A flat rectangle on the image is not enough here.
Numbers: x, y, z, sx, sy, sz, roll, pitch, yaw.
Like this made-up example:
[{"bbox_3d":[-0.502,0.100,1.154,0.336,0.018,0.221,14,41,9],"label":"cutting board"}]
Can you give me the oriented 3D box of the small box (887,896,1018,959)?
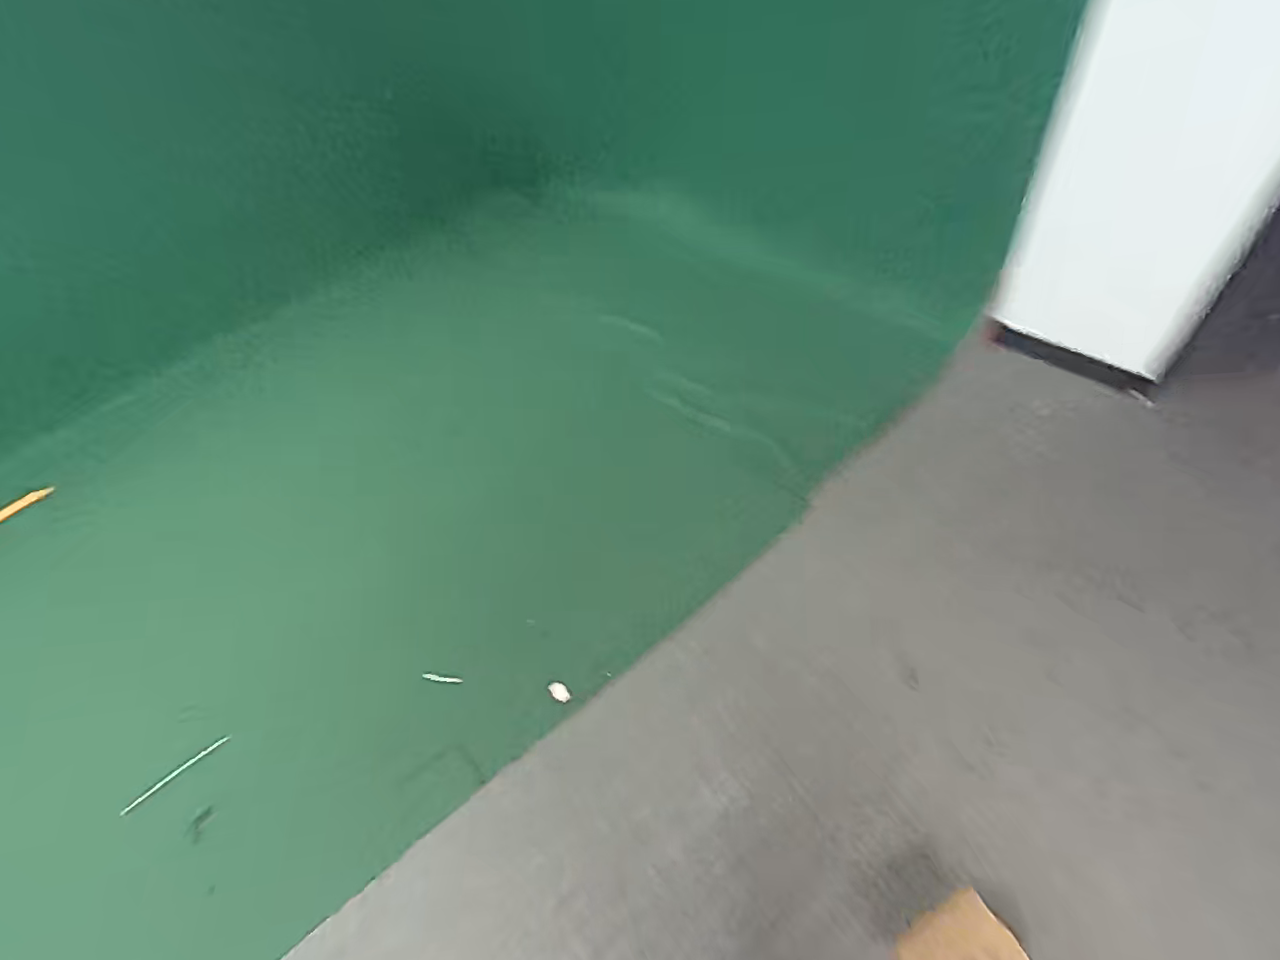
[{"bbox_3d":[0.548,0.856,0.925,0.179,0.176,0.168,-31,51,-9],"label":"small box"}]
